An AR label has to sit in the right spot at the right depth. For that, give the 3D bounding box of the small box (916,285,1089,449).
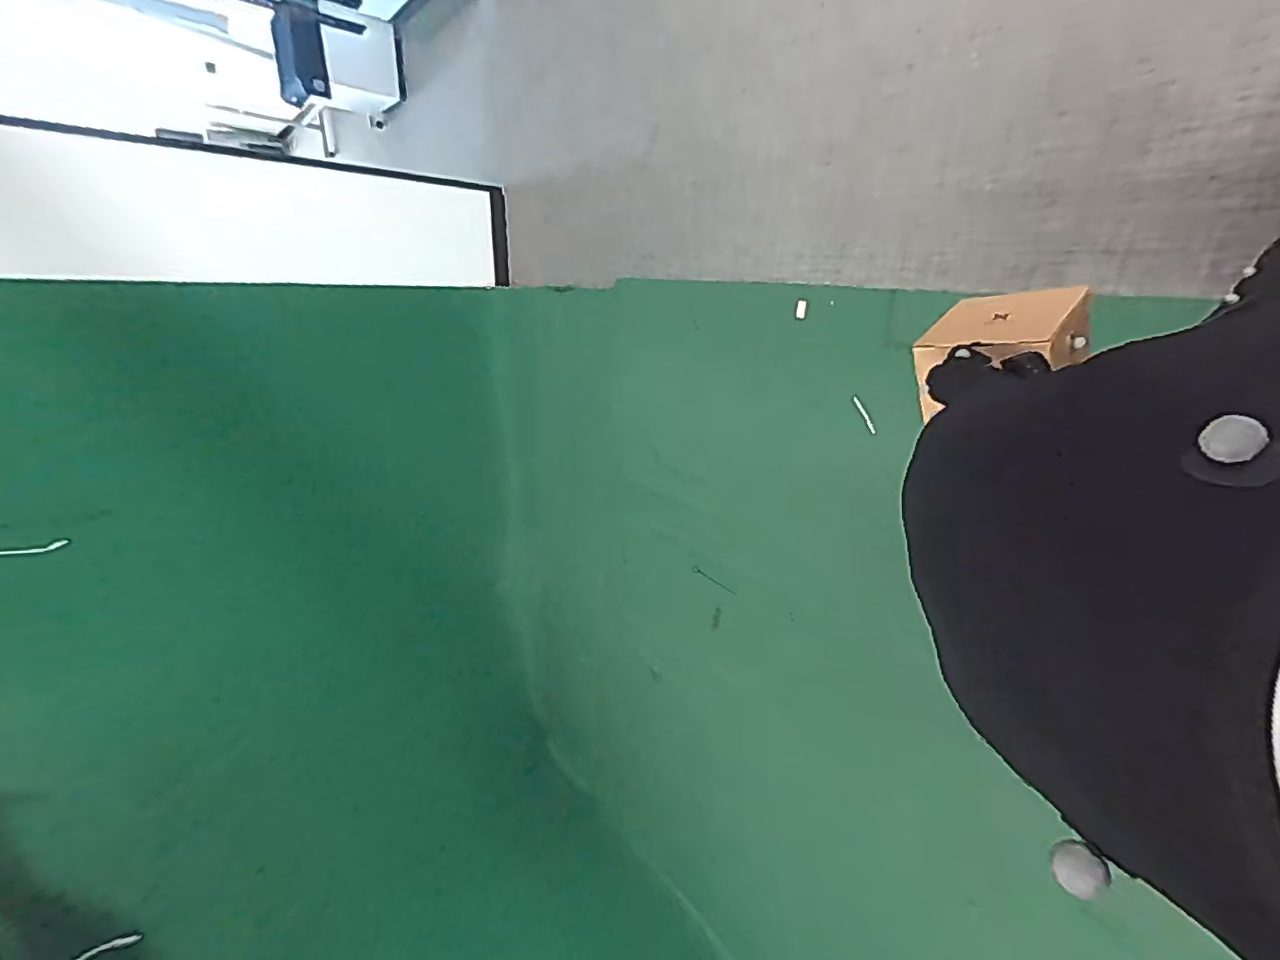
[{"bbox_3d":[0.540,-0.168,0.806,0.168,0.179,0.176,12,134,50],"label":"small box"}]
